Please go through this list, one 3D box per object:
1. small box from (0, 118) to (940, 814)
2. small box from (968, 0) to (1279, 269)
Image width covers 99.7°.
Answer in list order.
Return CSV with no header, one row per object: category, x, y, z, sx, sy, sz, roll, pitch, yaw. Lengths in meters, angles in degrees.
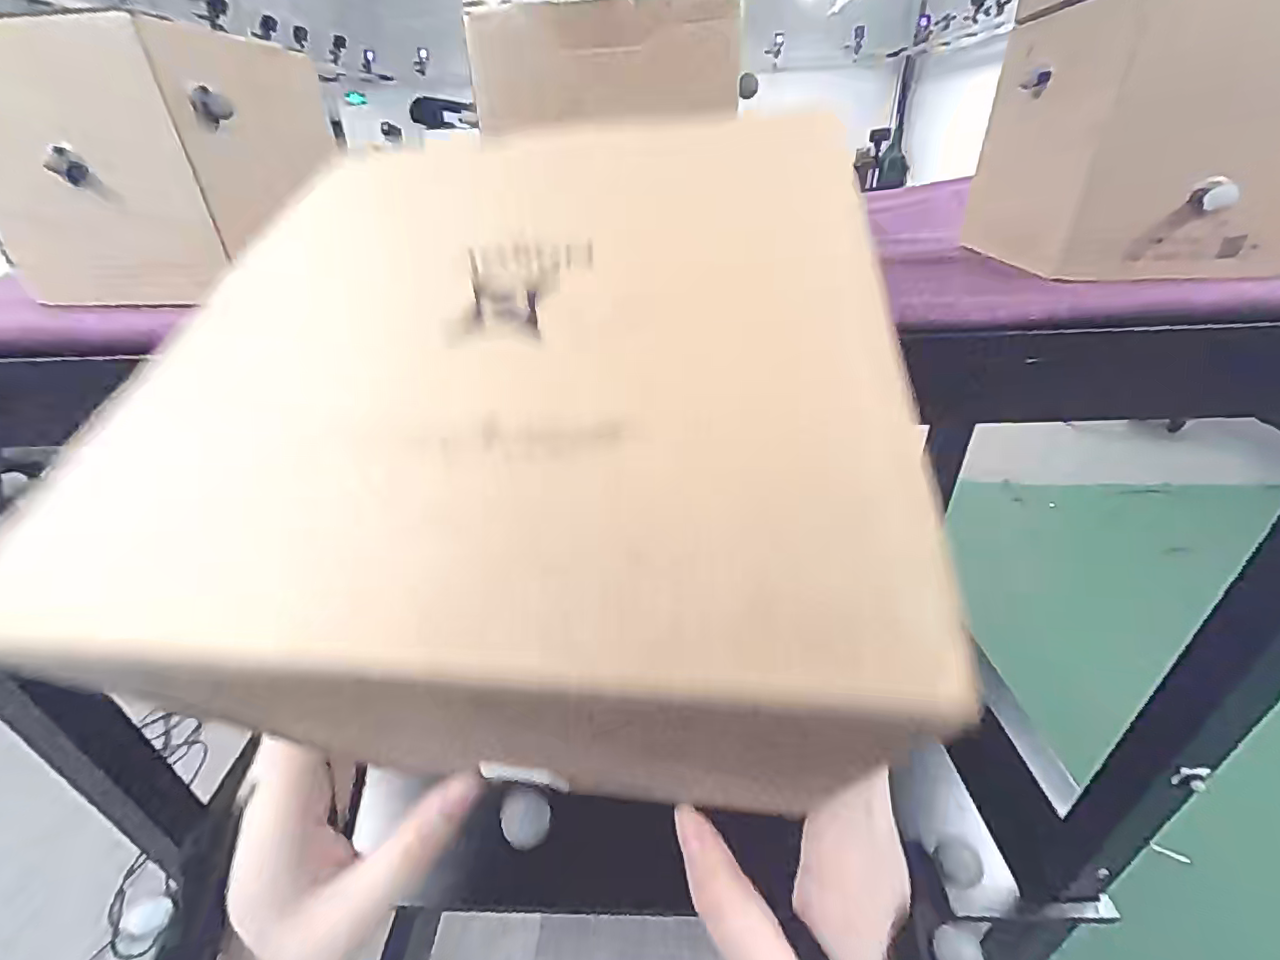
small box,-0.022,0.007,0.195,0.168,0.176,0.179,0,56,10
small box,0.371,-0.258,0.391,0.168,0.176,0.179,1,33,7
